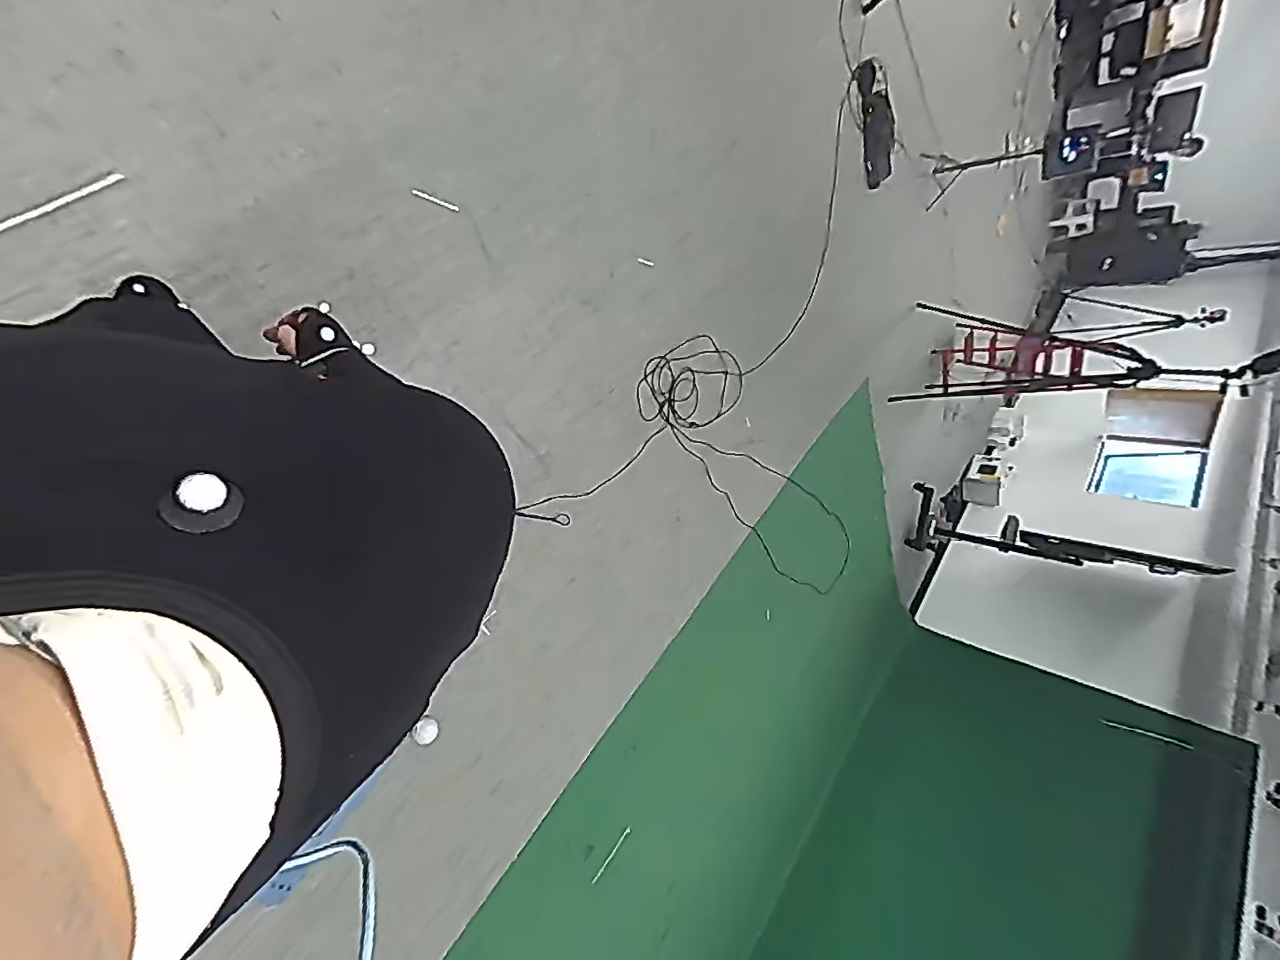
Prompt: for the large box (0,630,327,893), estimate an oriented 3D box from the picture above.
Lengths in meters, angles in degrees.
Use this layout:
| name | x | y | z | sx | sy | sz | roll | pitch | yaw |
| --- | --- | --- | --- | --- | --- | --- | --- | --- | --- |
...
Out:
| name | x | y | z | sx | sy | sz | roll | pitch | yaw |
| --- | --- | --- | --- | --- | --- | --- | --- | --- | --- |
| large box | -0.973 | 0.573 | 1.121 | 0.320 | 0.320 | 0.408 | -54 | 135 | -22 |
